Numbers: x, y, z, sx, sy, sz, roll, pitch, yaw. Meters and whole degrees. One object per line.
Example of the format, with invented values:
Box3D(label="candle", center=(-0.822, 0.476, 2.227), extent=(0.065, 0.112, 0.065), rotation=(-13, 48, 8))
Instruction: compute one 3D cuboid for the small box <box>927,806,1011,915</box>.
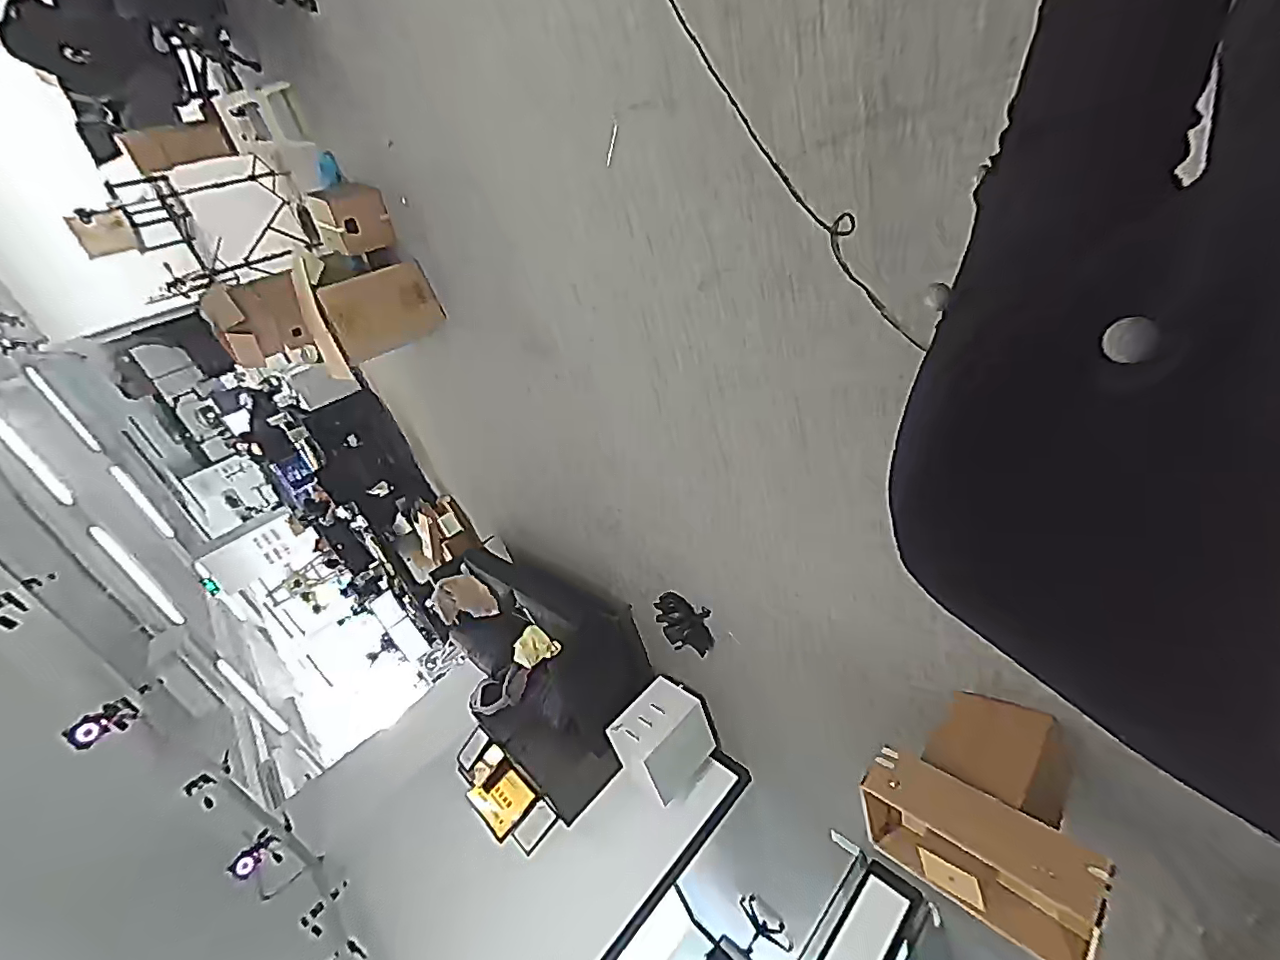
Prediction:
Box3D(label="small box", center=(1.007, 1.151, 1.648), extent=(0.168, 0.176, 0.179), rotation=(6, 125, 50))
